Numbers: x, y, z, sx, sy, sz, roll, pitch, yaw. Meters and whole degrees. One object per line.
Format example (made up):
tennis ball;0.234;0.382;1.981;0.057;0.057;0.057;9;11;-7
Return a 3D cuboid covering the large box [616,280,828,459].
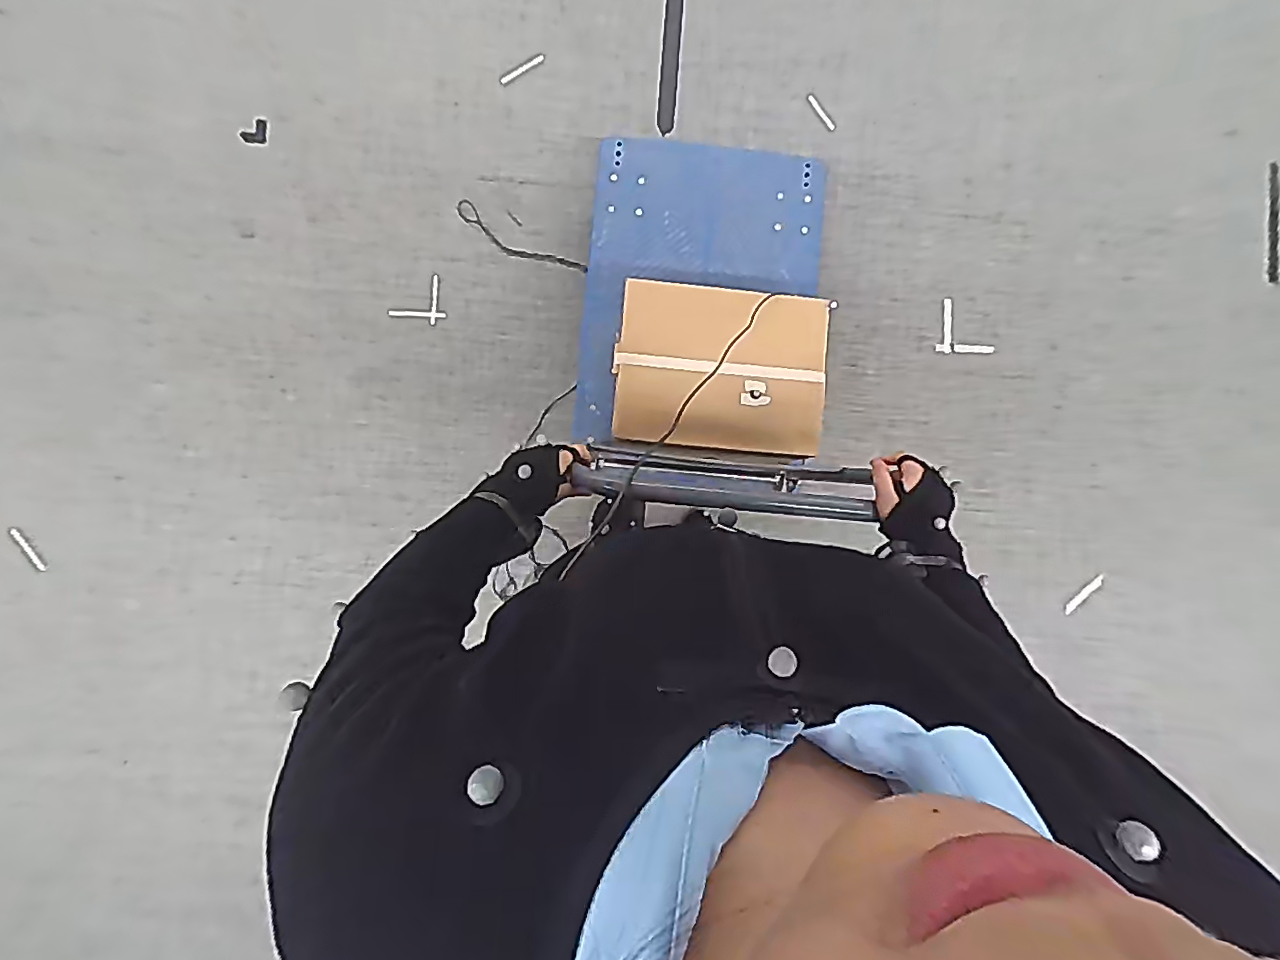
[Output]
large box;0.156;-0.220;1.205;0.408;0.320;0.320;5;89;-3
